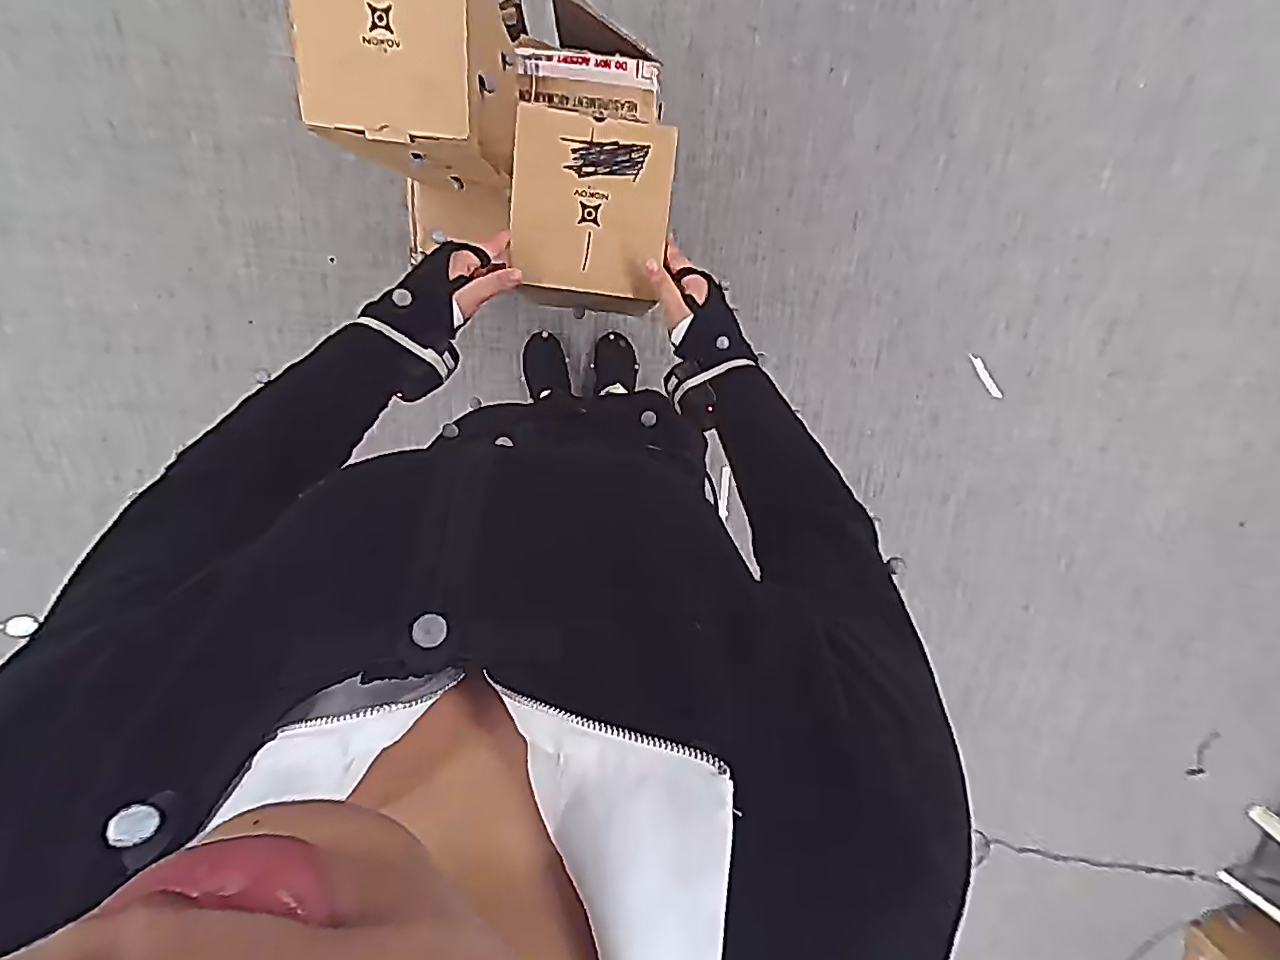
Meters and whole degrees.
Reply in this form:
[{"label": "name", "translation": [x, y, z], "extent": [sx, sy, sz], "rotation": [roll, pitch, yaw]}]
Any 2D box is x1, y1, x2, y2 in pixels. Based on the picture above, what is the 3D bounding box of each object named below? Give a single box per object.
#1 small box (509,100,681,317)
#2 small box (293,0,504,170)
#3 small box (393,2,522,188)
[{"label": "small box", "translation": [-0.055, -0.302, 0.641], "extent": [0.168, 0.176, 0.179], "rotation": [5, 99, -6]}, {"label": "small box", "translation": [-0.247, -0.455, 0.593], "extent": [0.168, 0.176, 0.179], "rotation": [3, 110, -3]}, {"label": "small box", "translation": [-0.260, -0.520, 0.744], "extent": [0.168, 0.176, 0.179], "rotation": [2, 110, -3]}]
